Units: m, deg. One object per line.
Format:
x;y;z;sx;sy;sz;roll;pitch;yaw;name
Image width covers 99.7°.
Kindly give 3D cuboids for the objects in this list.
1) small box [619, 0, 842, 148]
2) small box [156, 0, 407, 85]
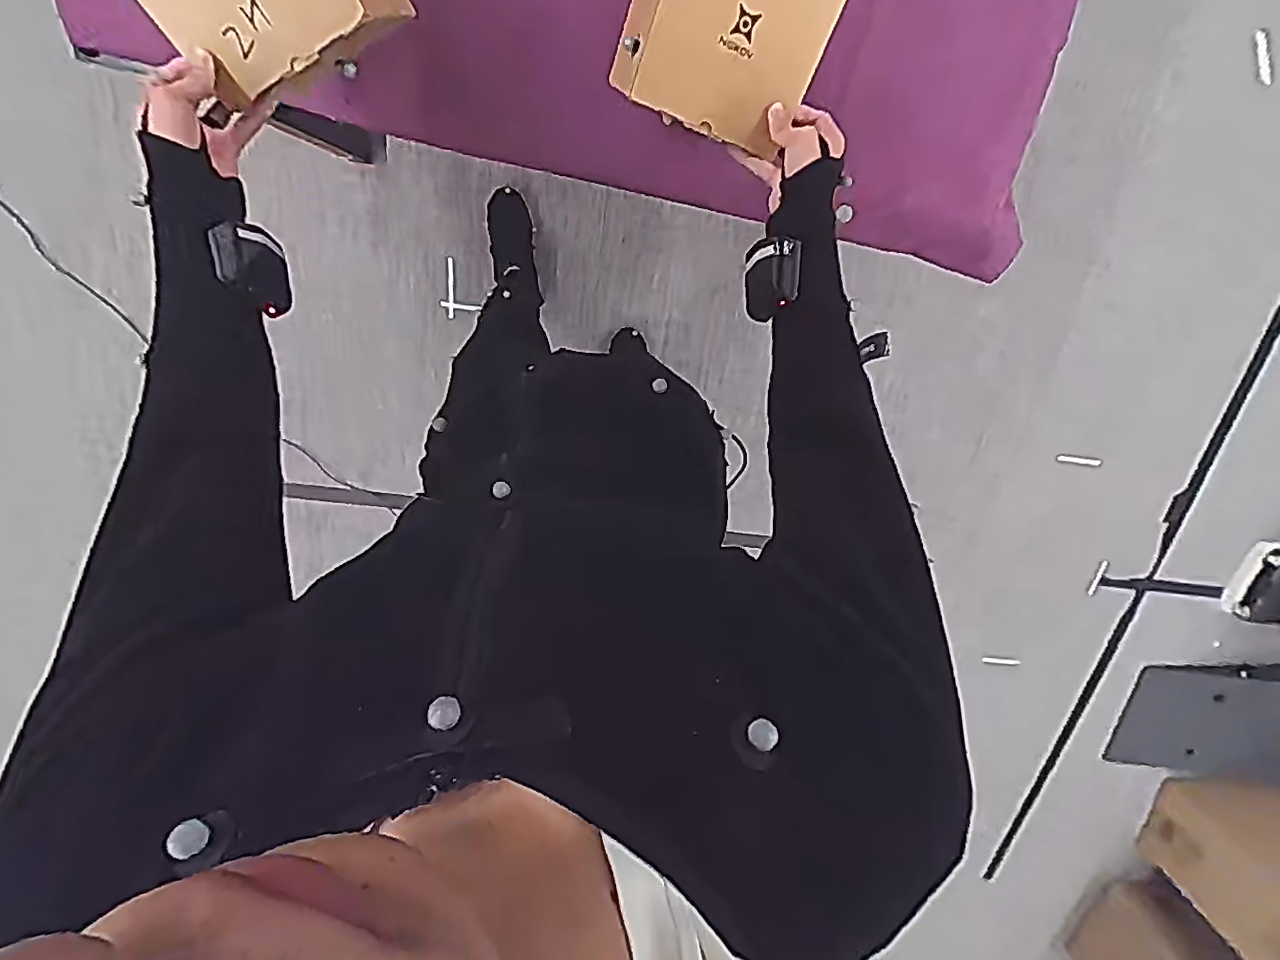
0.085;-0.481;0.555;0.168;0.176;0.179;12;128;-20;small box
-0.347;-0.499;0.489;0.168;0.176;0.179;-20;130;14;small box
